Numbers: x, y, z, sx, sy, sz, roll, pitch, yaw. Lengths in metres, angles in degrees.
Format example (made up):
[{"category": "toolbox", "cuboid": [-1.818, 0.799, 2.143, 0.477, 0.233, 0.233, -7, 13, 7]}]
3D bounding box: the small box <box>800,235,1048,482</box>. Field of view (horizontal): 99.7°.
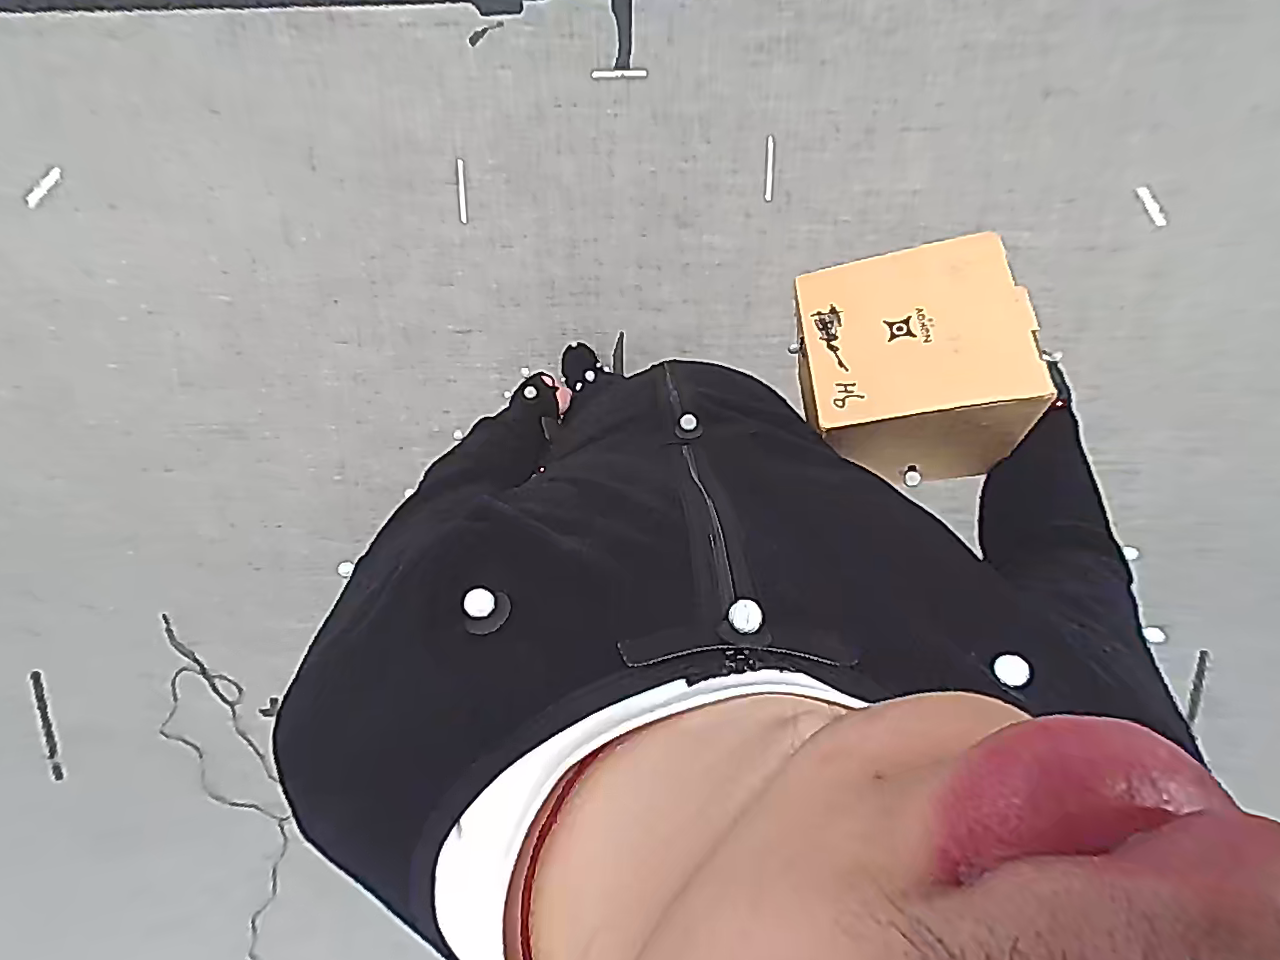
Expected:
[{"category": "small box", "cuboid": [0.261, -0.108, 0.549, 0.179, 0.176, 0.168, -7, 67, 15]}]
